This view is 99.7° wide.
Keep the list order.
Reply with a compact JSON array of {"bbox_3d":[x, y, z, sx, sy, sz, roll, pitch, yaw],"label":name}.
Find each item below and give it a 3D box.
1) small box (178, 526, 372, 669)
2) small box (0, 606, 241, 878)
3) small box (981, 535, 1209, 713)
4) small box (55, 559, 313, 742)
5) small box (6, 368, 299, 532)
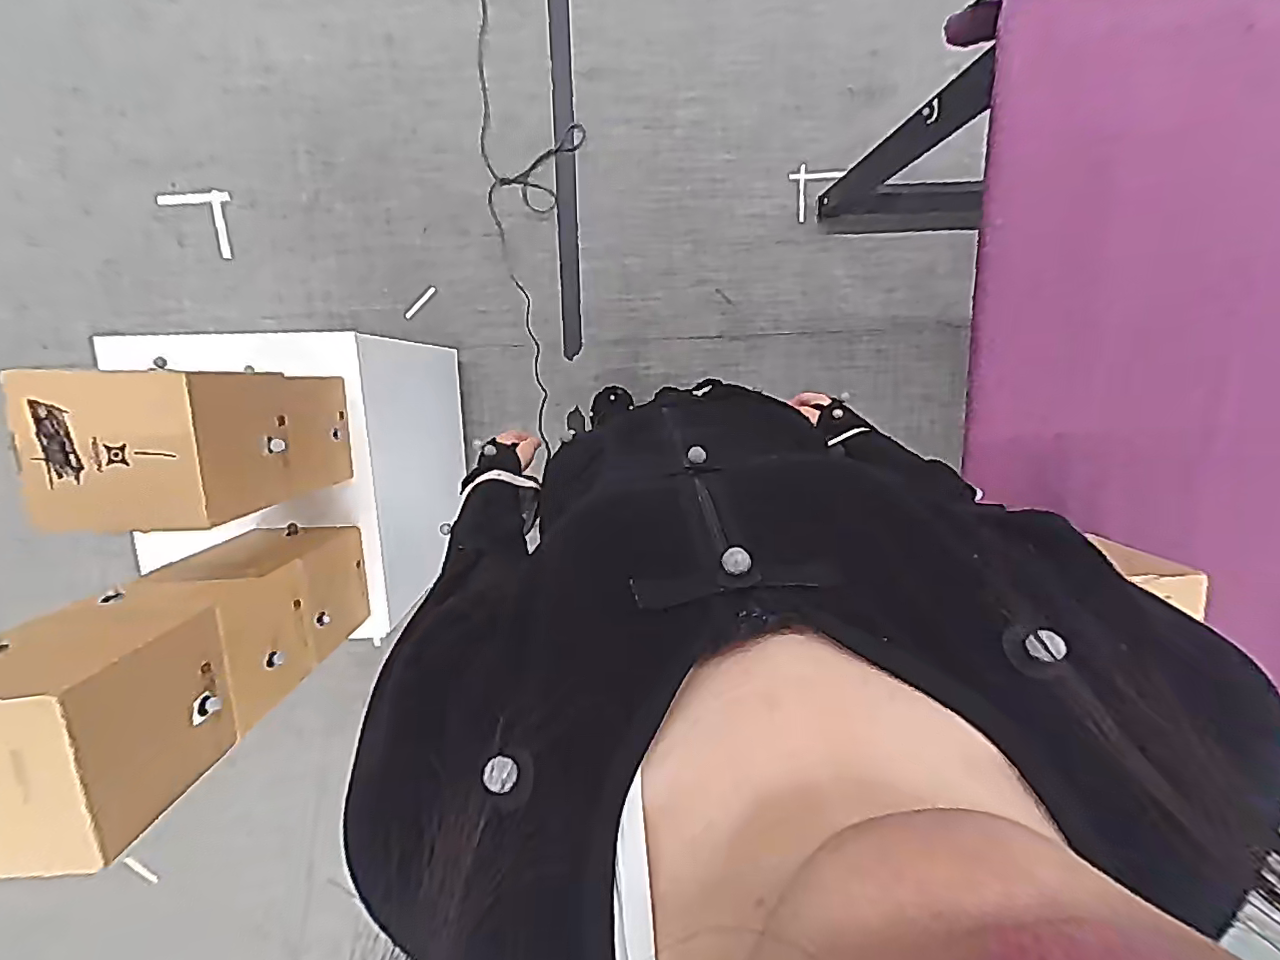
[{"bbox_3d":[-0.542,0.172,0.827,0.179,0.176,0.168,-1,102,-1],"label":"small box"},{"bbox_3d":[-0.530,0.230,0.508,0.179,0.176,0.168,-3,102,-2],"label":"small box"},{"bbox_3d":[0.599,0.186,0.738,0.168,0.176,0.179,-4,101,-2],"label":"small box"},{"bbox_3d":[-0.534,0.202,0.667,0.179,0.176,0.168,-3,101,-1],"label":"small box"},{"bbox_3d":[-0.532,-0.042,0.619,0.179,0.176,0.168,0,101,-3],"label":"small box"}]
